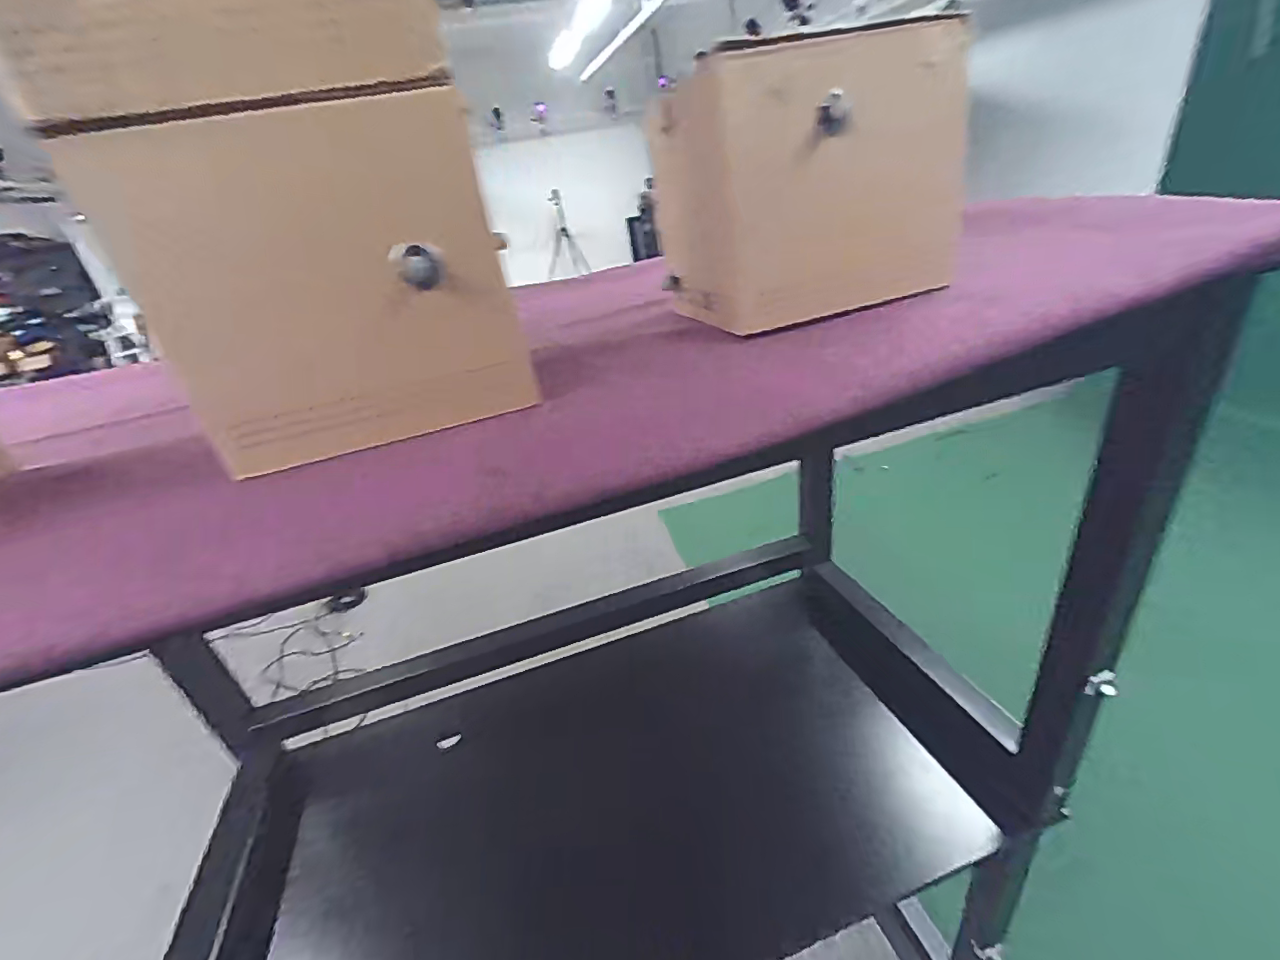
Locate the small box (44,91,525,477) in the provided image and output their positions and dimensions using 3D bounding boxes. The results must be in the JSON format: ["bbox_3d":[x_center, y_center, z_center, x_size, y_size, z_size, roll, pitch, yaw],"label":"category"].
[{"bbox_3d":[-0.181,-0.124,0.349,0.179,0.176,0.168,-18,28,-12],"label":"small box"}]

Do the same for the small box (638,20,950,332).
[{"bbox_3d":[0.114,-0.226,0.435,0.179,0.176,0.168,-15,26,-10],"label":"small box"}]
